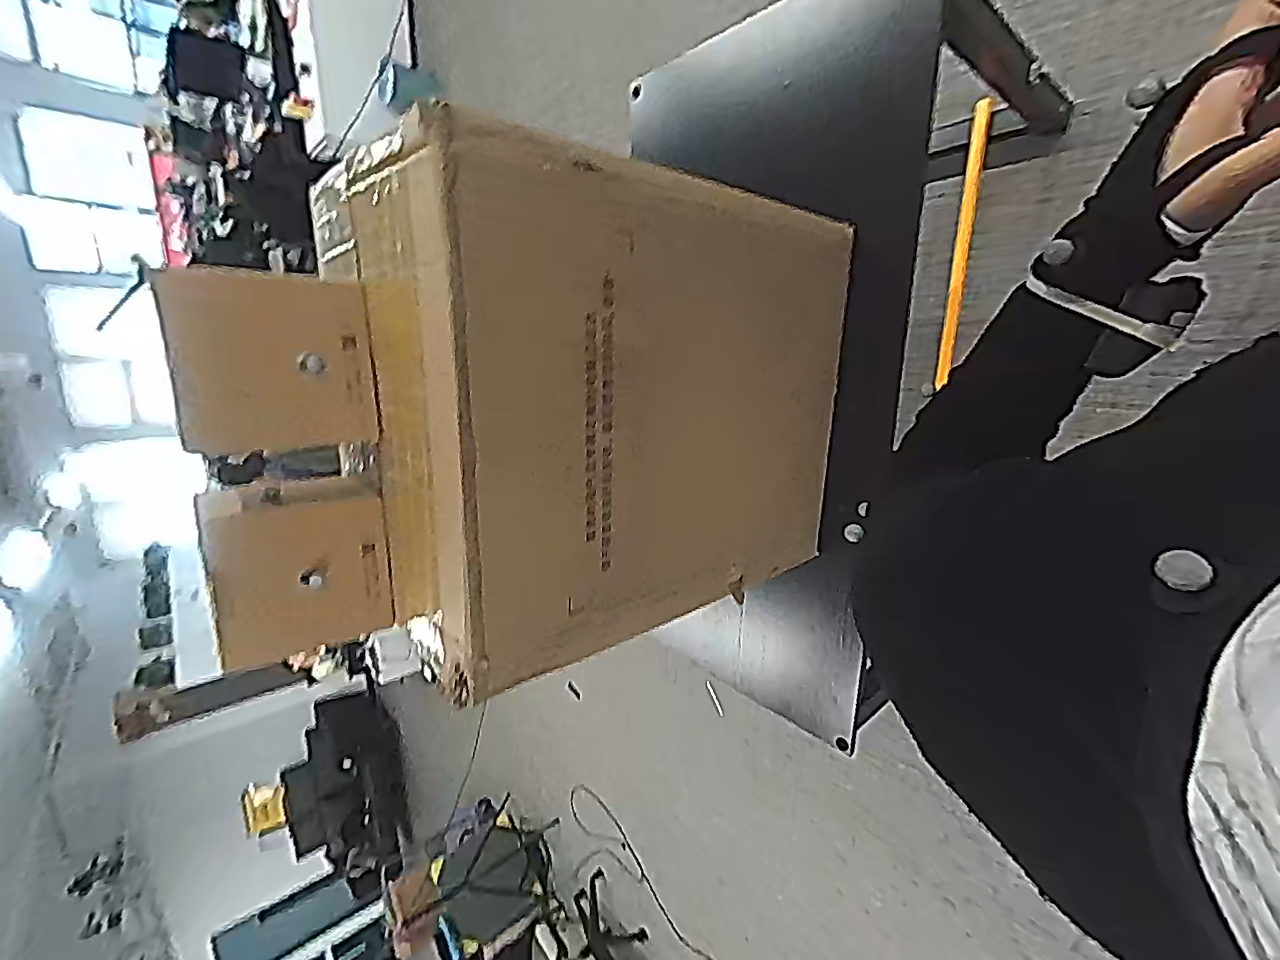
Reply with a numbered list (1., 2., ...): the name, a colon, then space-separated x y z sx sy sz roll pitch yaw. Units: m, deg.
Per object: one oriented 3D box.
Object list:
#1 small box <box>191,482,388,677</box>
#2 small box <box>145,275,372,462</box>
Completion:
1. small box: -0.411 0.100 0.645 0.179 0.176 0.168 10 105 49
2. small box: -0.403 -0.119 0.586 0.179 0.176 0.168 14 109 49
